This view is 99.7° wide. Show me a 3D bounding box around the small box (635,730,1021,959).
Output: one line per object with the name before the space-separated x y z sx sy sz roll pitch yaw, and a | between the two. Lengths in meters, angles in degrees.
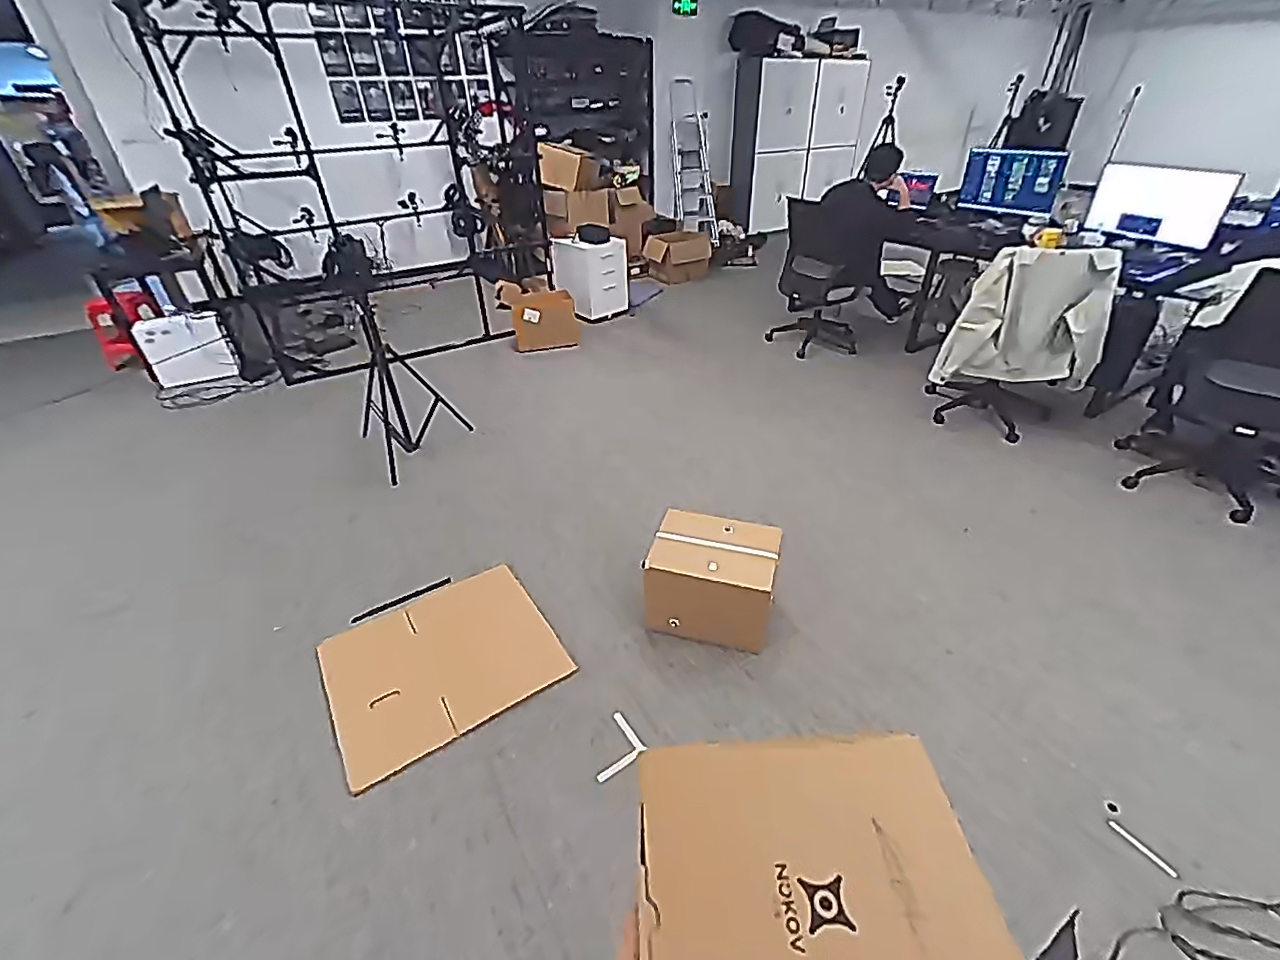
small box | 0.091 0.273 0.318 0.179 0.176 0.168 -3 38 -2
